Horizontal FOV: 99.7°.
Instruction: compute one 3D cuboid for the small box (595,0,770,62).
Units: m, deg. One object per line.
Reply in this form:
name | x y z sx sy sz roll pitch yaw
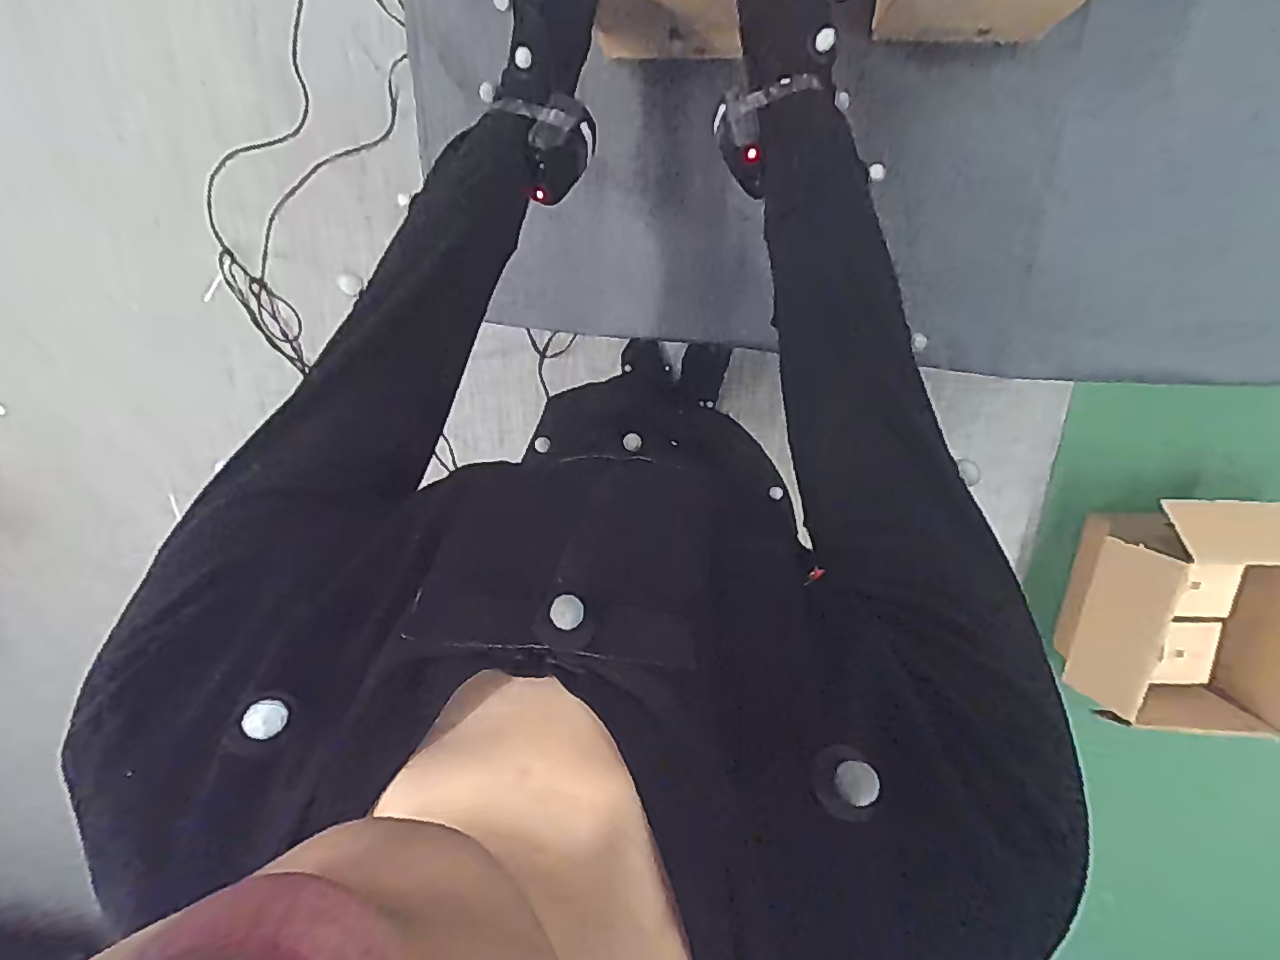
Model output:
small box | 0.040 -0.514 0.481 0.168 0.176 0.179 5 108 5
